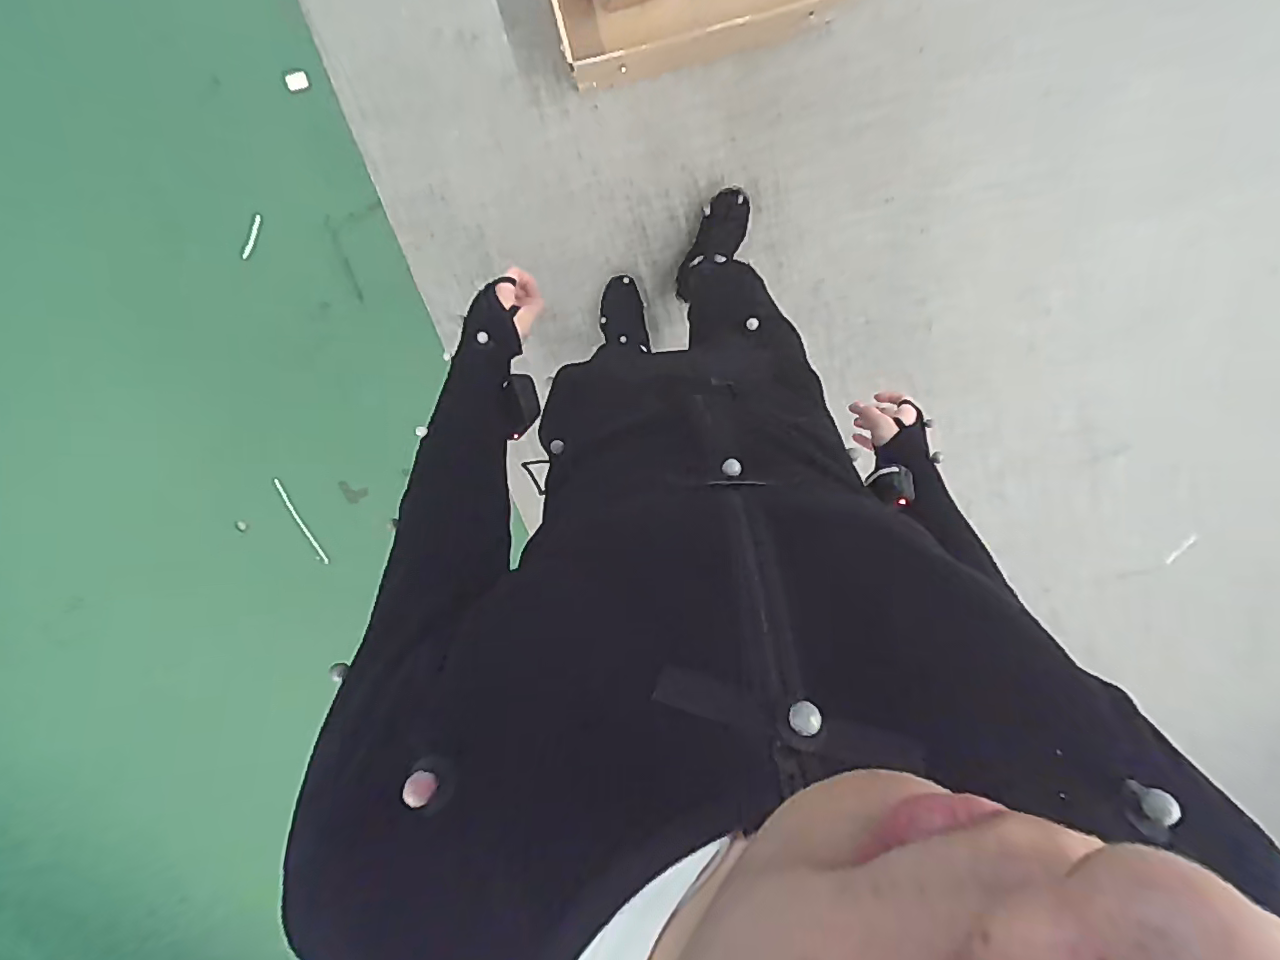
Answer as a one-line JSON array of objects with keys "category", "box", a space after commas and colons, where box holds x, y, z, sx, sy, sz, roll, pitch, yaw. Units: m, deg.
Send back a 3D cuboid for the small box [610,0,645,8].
[{"category": "small box", "box": [0.002, -1.056, 1.042, 0.168, 0.176, 0.179, -16, 115, 2]}]
